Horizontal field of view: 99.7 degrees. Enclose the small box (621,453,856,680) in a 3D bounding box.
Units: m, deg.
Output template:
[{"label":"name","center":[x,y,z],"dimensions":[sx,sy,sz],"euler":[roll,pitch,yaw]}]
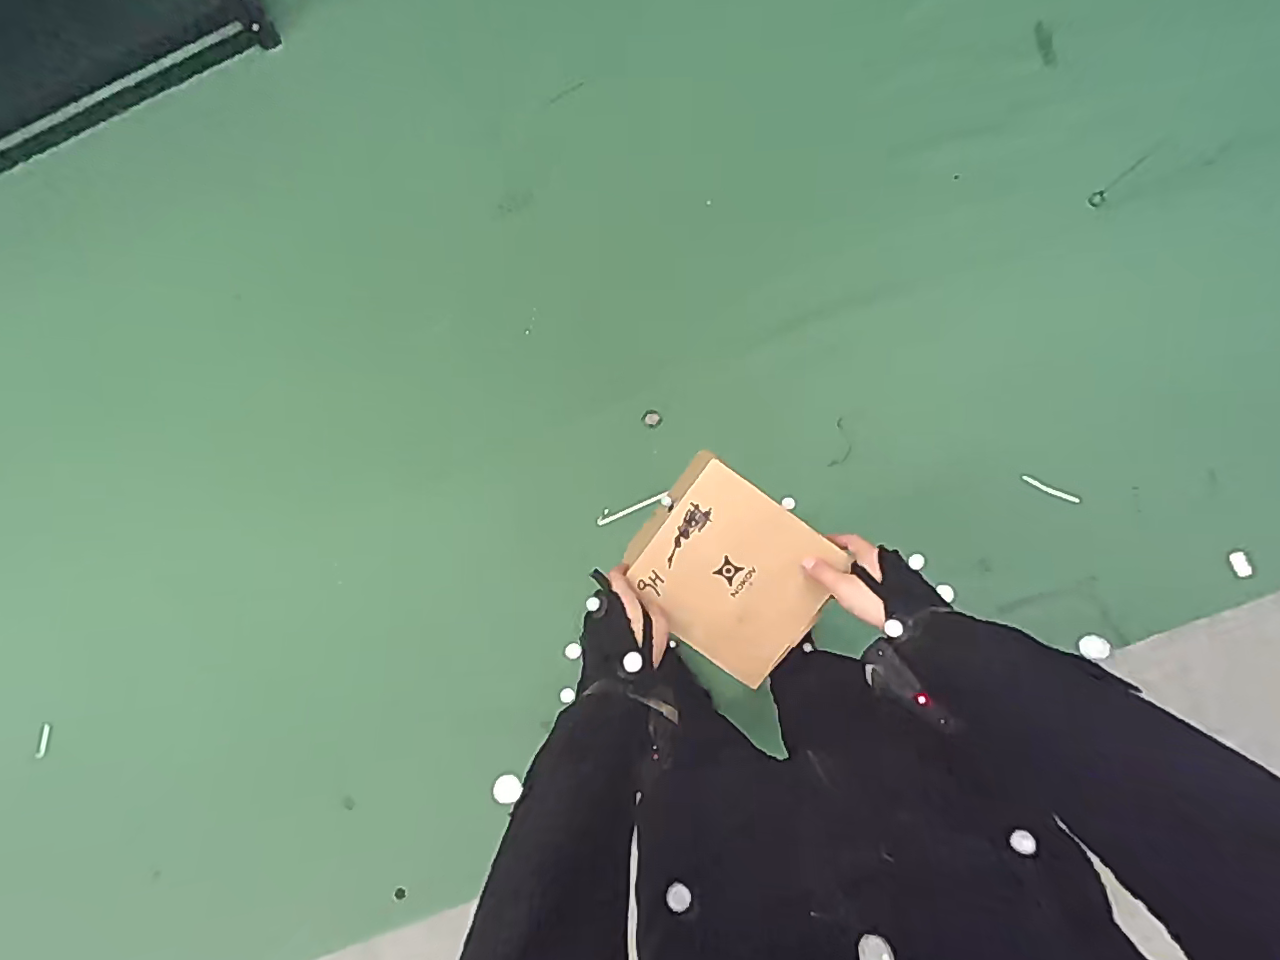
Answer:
[{"label":"small box","center":[0.101,0.081,0.612],"dimensions":[0.179,0.176,0.168],"euler":[35,97,-1]}]
